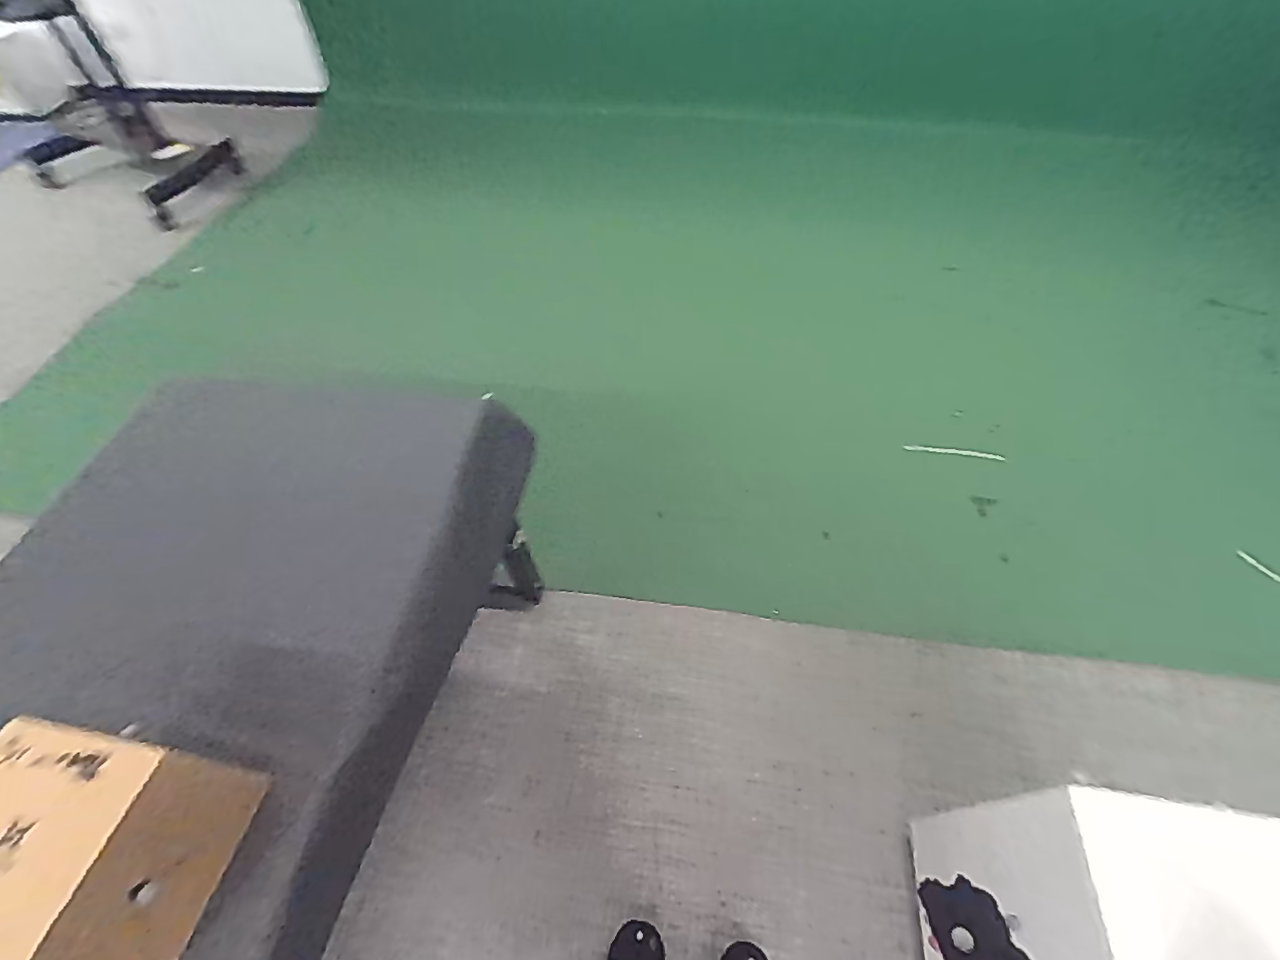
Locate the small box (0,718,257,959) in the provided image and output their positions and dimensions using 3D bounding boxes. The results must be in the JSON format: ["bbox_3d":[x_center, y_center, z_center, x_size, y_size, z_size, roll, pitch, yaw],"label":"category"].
[{"bbox_3d":[-0.514,0.345,0.504,0.168,0.176,0.179,7,55,8],"label":"small box"}]
